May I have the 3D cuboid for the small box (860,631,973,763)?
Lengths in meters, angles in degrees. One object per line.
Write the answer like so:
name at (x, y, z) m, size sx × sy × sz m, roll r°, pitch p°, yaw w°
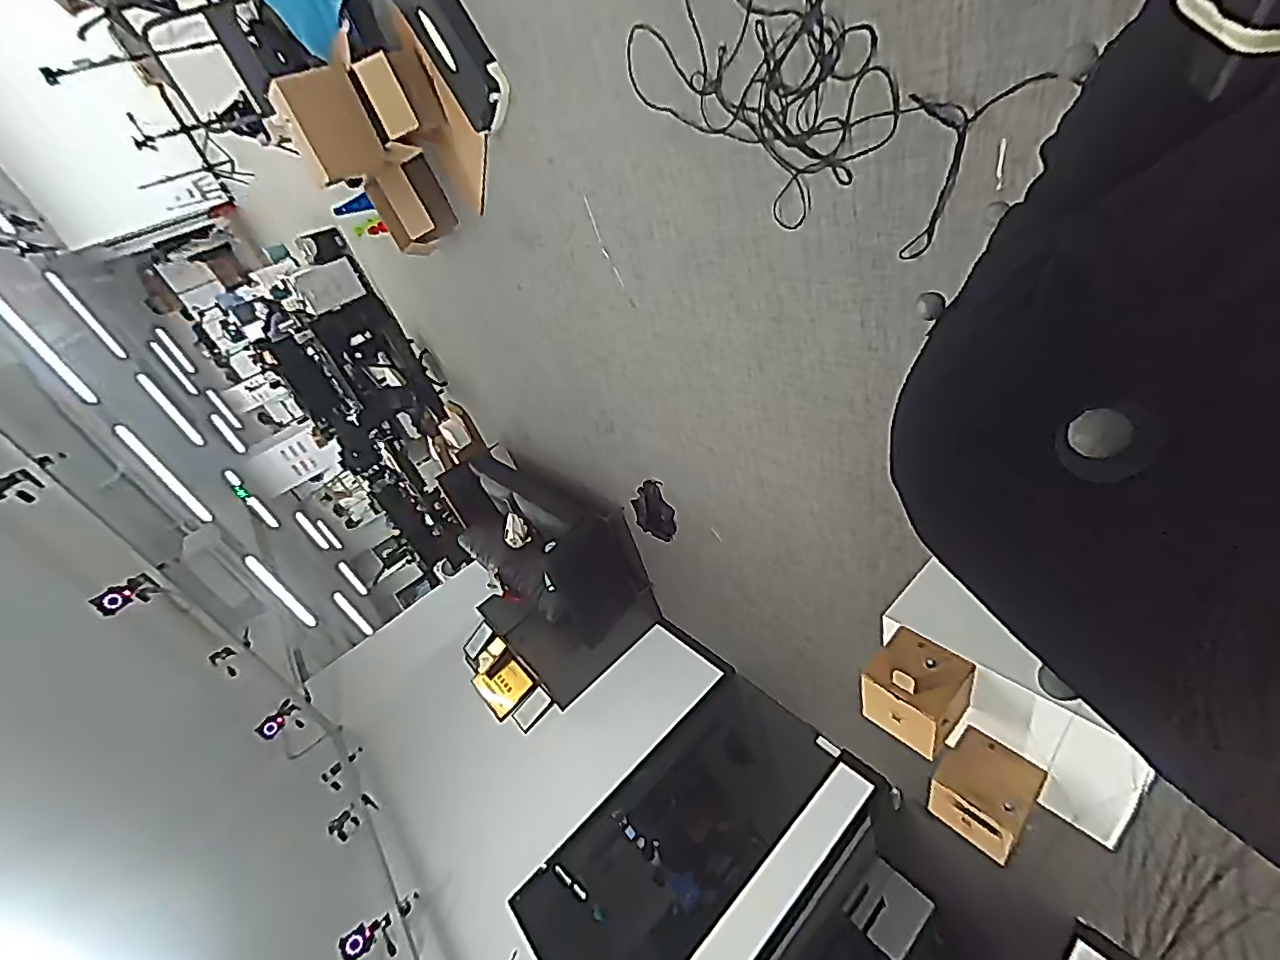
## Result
small box at (0.614, 0.476, 1.204) m, size 0.168 × 0.176 × 0.179 m, roll 27°, pitch 145°, yaw 45°
